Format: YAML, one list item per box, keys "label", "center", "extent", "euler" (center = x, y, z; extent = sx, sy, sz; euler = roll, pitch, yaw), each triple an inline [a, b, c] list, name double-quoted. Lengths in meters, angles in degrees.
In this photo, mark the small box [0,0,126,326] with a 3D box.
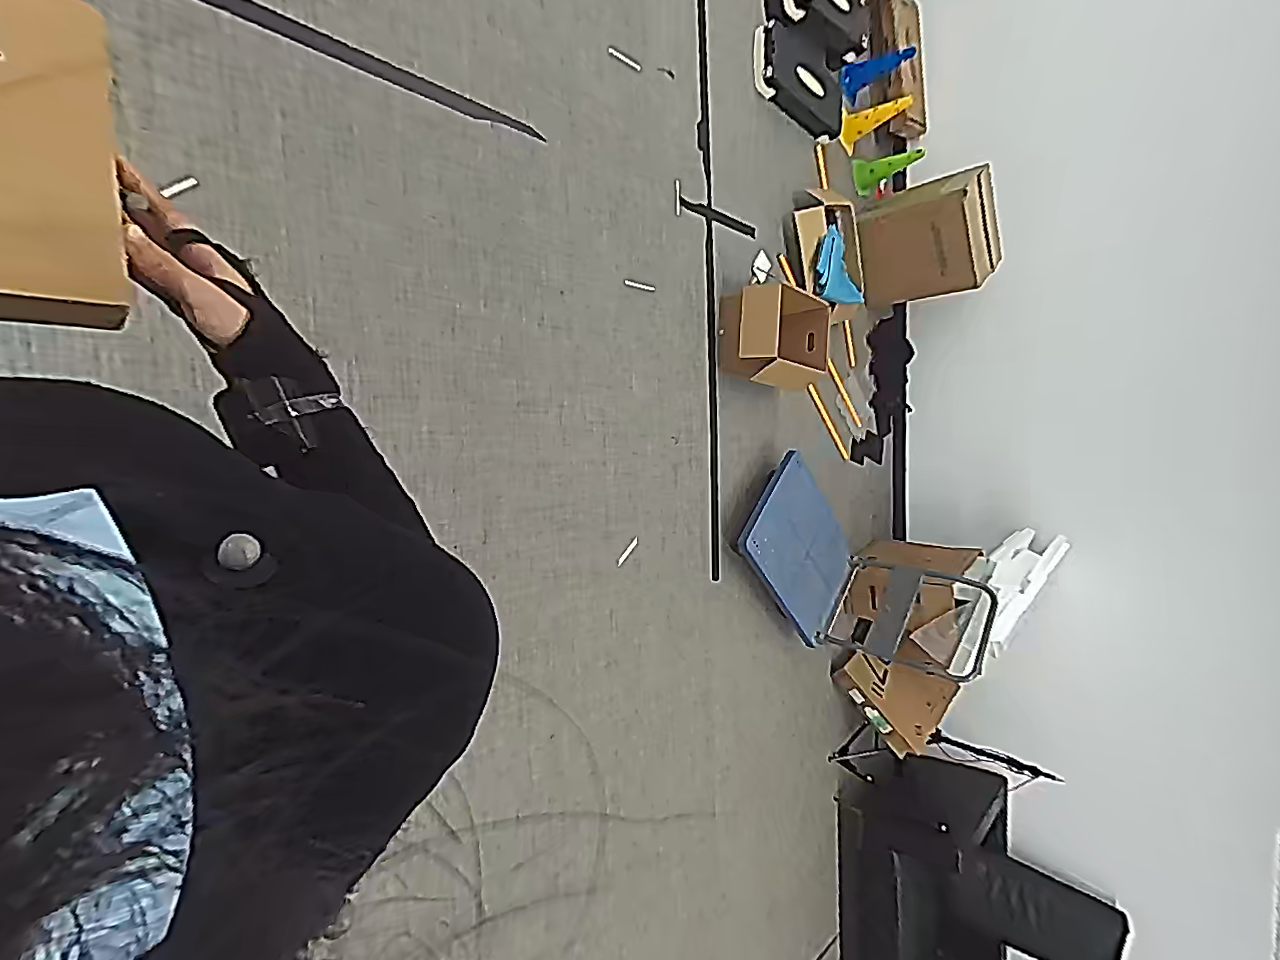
- label: "small box"
  center: [-0.436, -0.198, 0.331]
  extent: [0.168, 0.176, 0.179]
  euler: [-6, 99, -46]
